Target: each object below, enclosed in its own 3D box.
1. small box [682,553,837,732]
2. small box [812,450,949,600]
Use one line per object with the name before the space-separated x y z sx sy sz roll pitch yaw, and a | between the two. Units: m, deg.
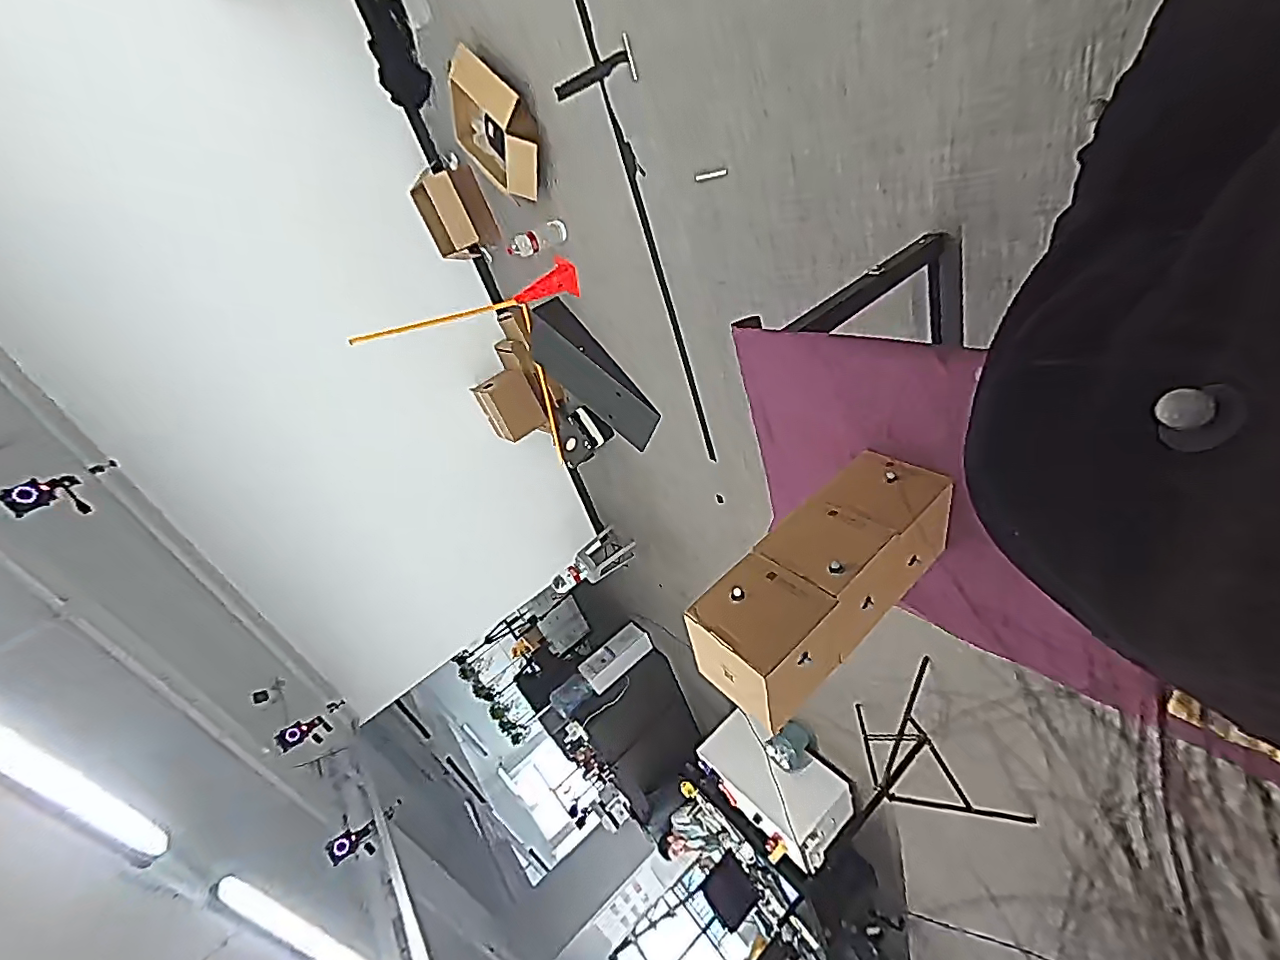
small box | 0.194 0.248 0.858 0.168 0.176 0.179 32 150 44
small box | 0.439 0.077 0.991 0.168 0.176 0.179 29 146 44
